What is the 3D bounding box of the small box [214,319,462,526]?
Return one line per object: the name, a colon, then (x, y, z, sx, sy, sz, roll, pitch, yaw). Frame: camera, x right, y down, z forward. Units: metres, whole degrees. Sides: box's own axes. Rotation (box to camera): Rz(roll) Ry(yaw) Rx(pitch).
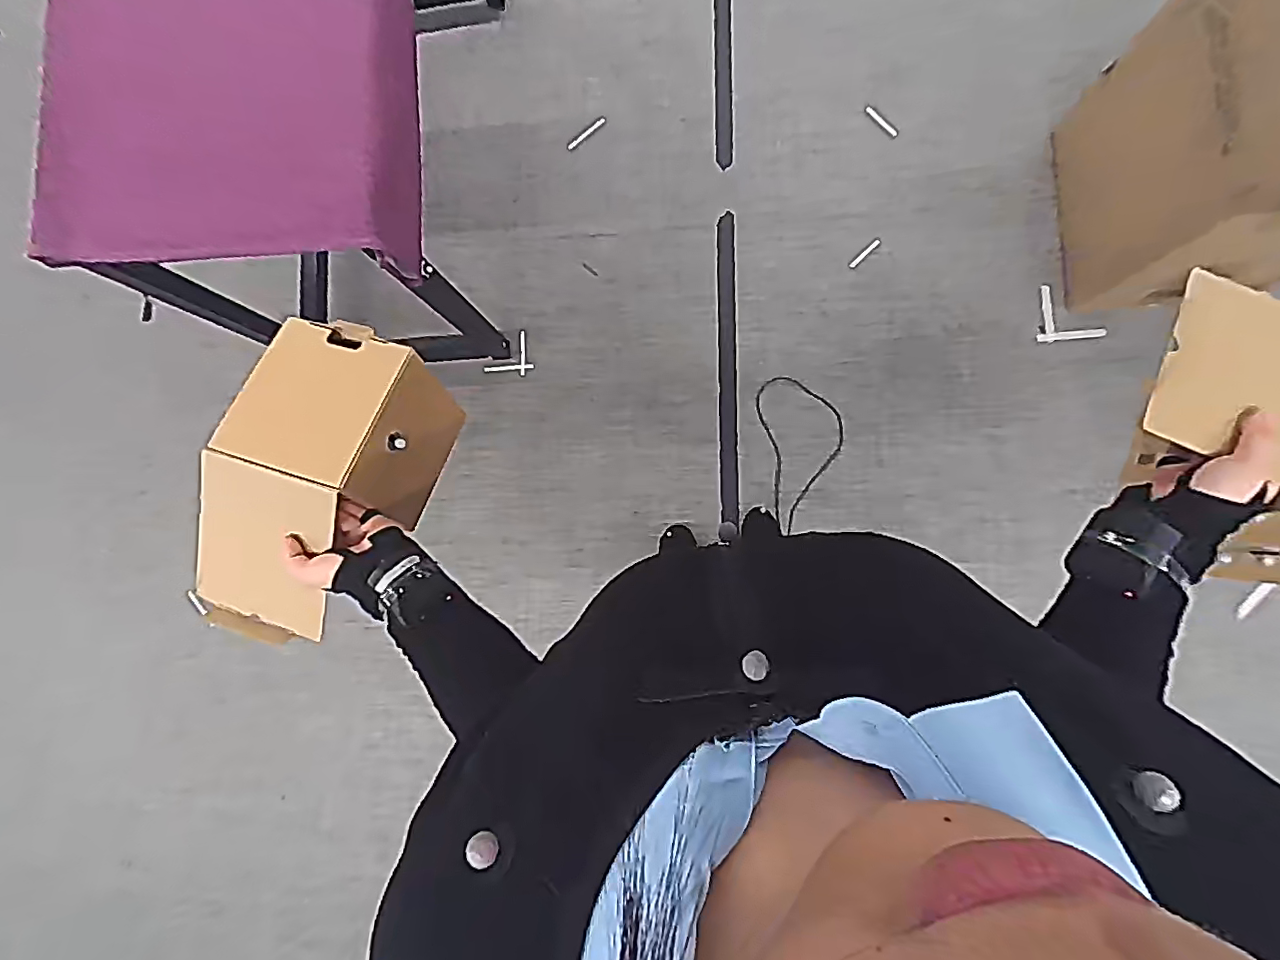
small box: (-0.344, -0.060, 0.658, 0.168, 0.176, 0.179, 16, 71, 9)
